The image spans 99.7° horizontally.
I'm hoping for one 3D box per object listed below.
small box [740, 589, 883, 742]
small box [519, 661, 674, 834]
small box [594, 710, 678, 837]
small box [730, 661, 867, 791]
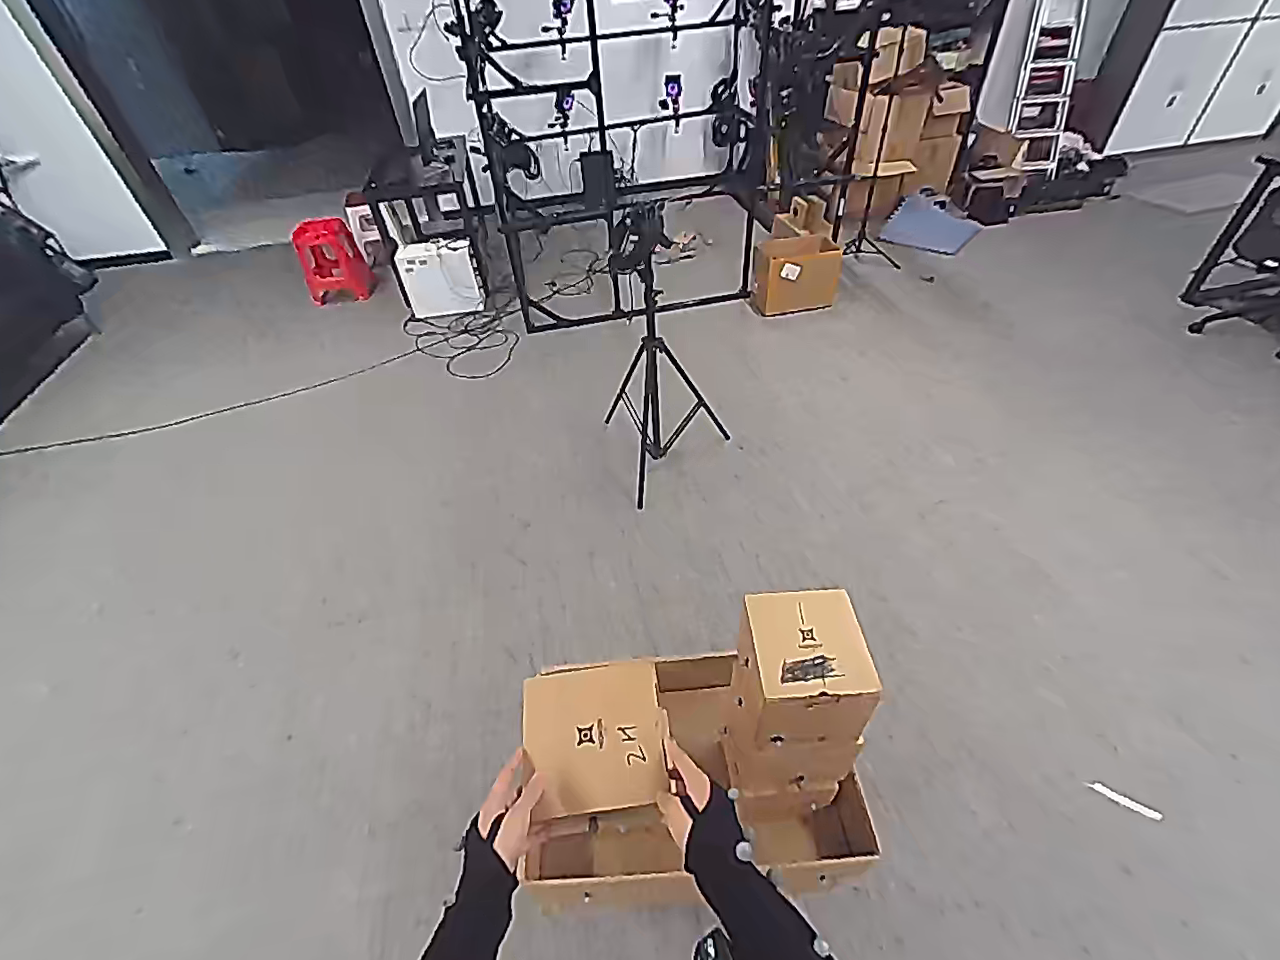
[{"bbox_3d":[0.253,0.295,0.847,0.168,0.176,0.179,-3,43,1],"label":"small box"},{"bbox_3d":[-0.053,0.360,0.721,0.179,0.176,0.168,-8,53,-1],"label":"small box"},{"bbox_3d":[-0.016,0.576,1.055,0.168,0.176,0.179,-5,43,-2],"label":"small box"},{"bbox_3d":[0.264,0.425,0.949,0.179,0.176,0.168,-6,43,-2],"label":"small box"}]
